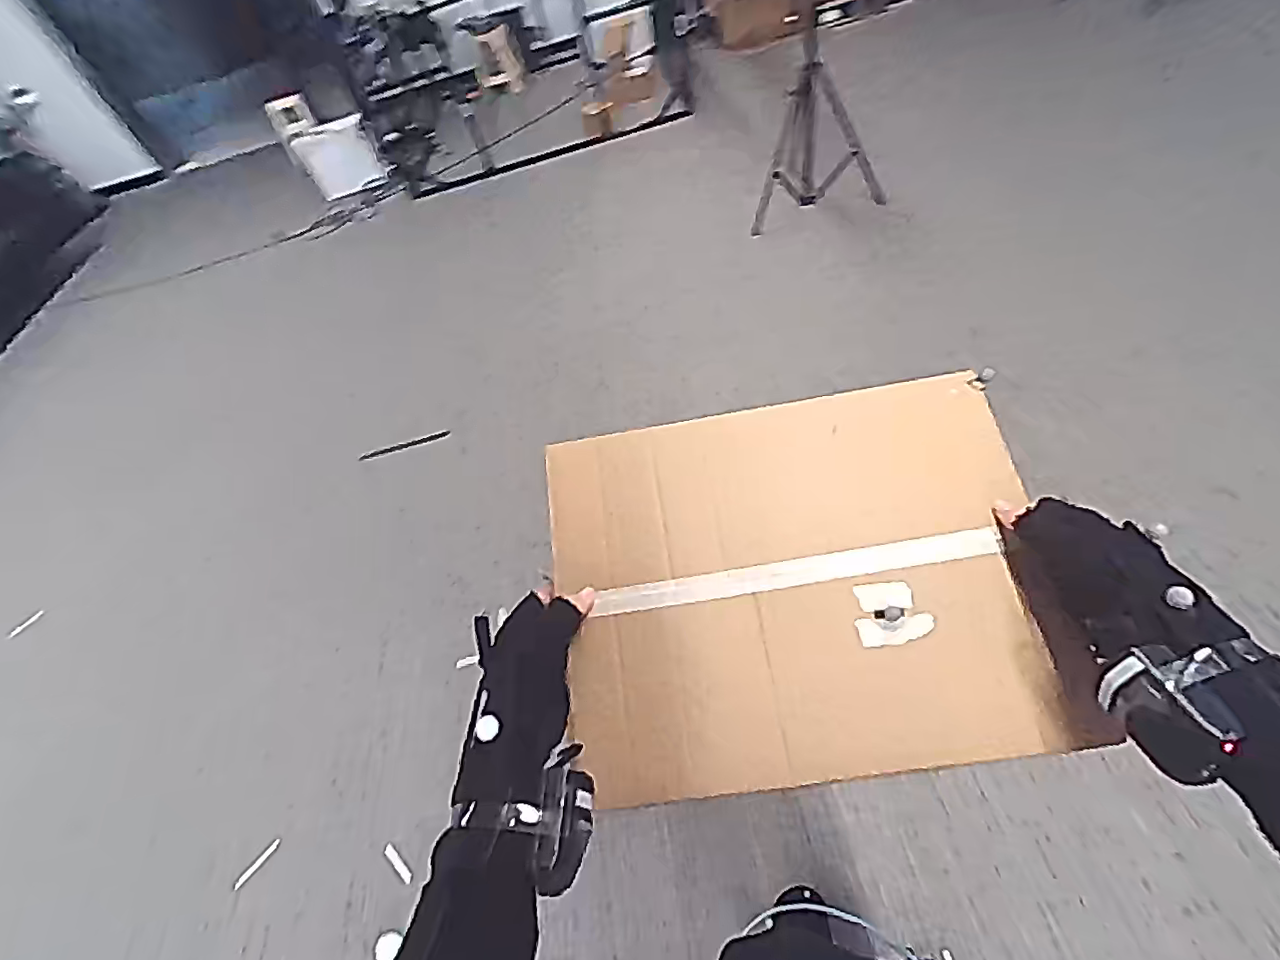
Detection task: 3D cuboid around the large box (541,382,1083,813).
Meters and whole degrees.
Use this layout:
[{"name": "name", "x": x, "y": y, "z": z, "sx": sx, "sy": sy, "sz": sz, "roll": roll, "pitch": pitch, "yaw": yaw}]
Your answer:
[{"name": "large box", "x": 0.135, "y": 0.138, "z": 0.610, "sx": 0.408, "sy": 0.320, "sz": 0.320, "roll": -11, "pitch": 69, "yaw": 2}]
